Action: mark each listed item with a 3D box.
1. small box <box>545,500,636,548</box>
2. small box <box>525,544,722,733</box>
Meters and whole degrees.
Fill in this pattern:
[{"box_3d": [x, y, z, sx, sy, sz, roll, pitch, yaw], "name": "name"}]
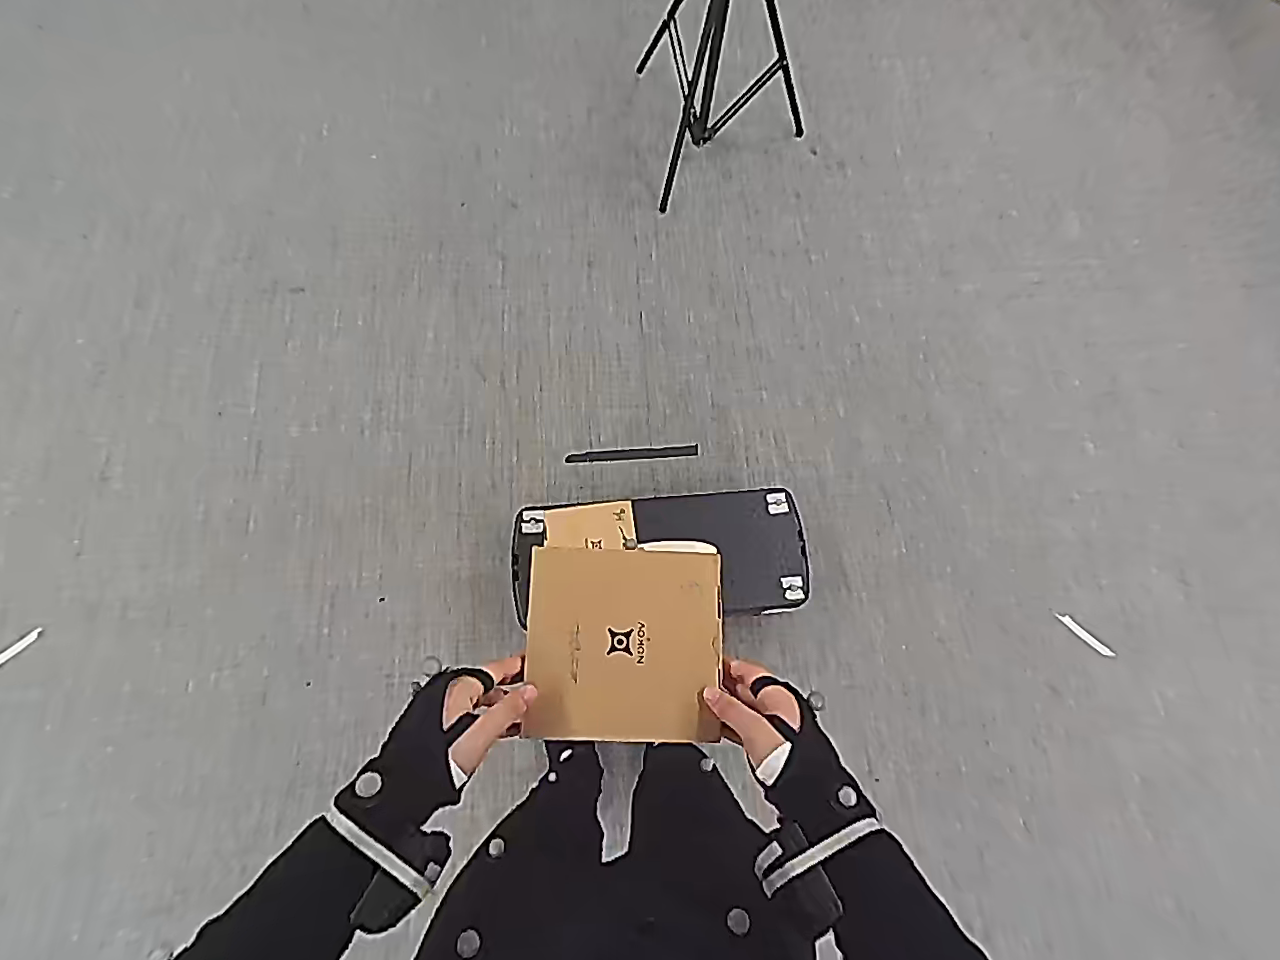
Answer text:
[{"box_3d": [-0.097, 0.149, 1.127, 0.179, 0.176, 0.168, -7, 74, -4], "name": "small box"}, {"box_3d": [-0.017, 0.160, 0.570, 0.179, 0.176, 0.168, 1, 76, -2], "name": "small box"}]
